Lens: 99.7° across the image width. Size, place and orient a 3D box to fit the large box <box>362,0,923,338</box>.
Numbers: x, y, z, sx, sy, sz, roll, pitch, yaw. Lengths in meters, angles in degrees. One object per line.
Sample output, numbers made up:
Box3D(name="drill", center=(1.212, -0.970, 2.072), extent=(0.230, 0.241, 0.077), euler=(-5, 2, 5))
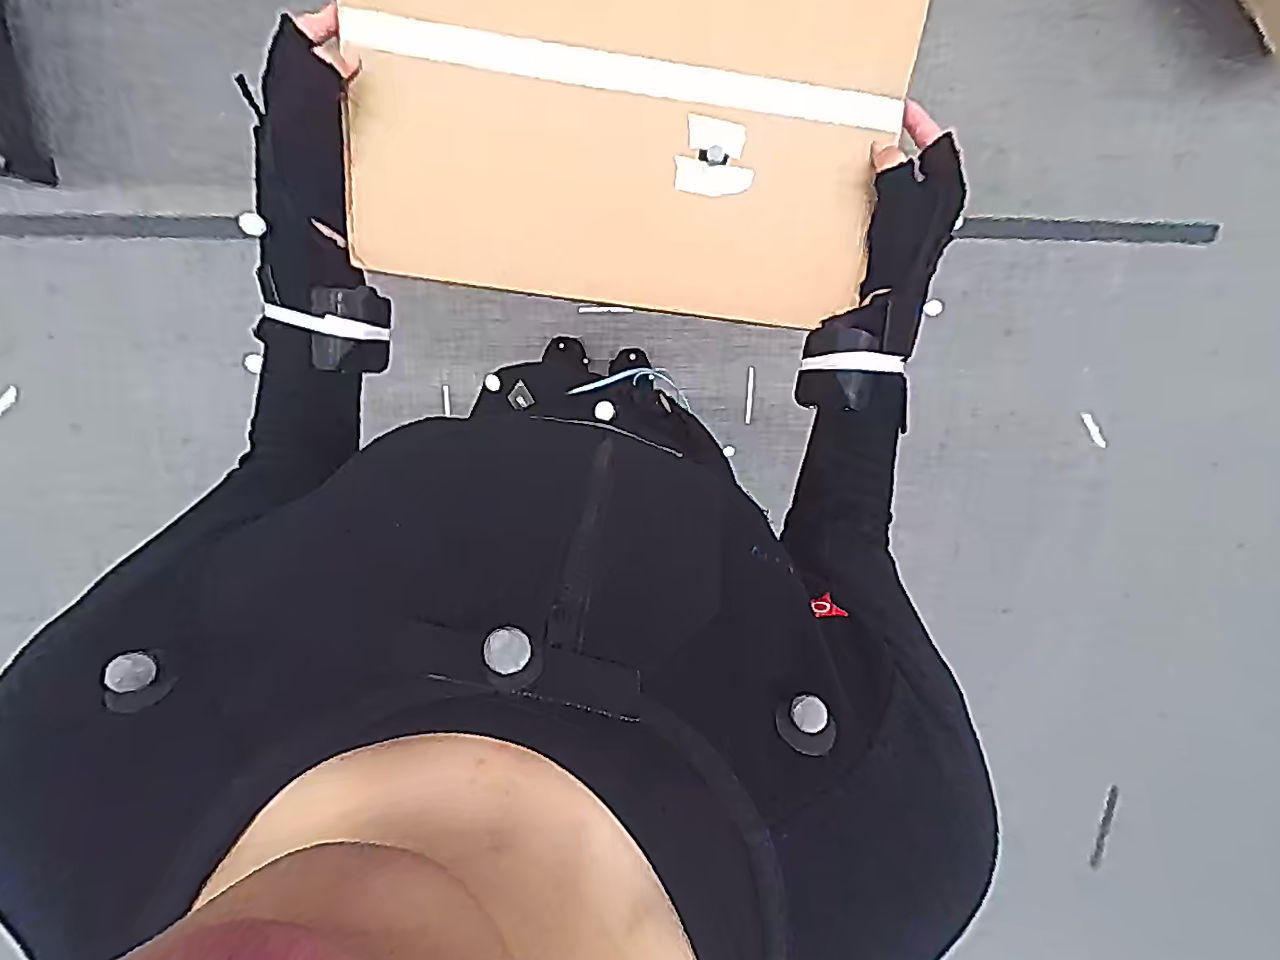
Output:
Box3D(name="large box", center=(-0.011, -0.331, 0.543), extent=(0.408, 0.320, 0.320), euler=(6, 109, -6))
